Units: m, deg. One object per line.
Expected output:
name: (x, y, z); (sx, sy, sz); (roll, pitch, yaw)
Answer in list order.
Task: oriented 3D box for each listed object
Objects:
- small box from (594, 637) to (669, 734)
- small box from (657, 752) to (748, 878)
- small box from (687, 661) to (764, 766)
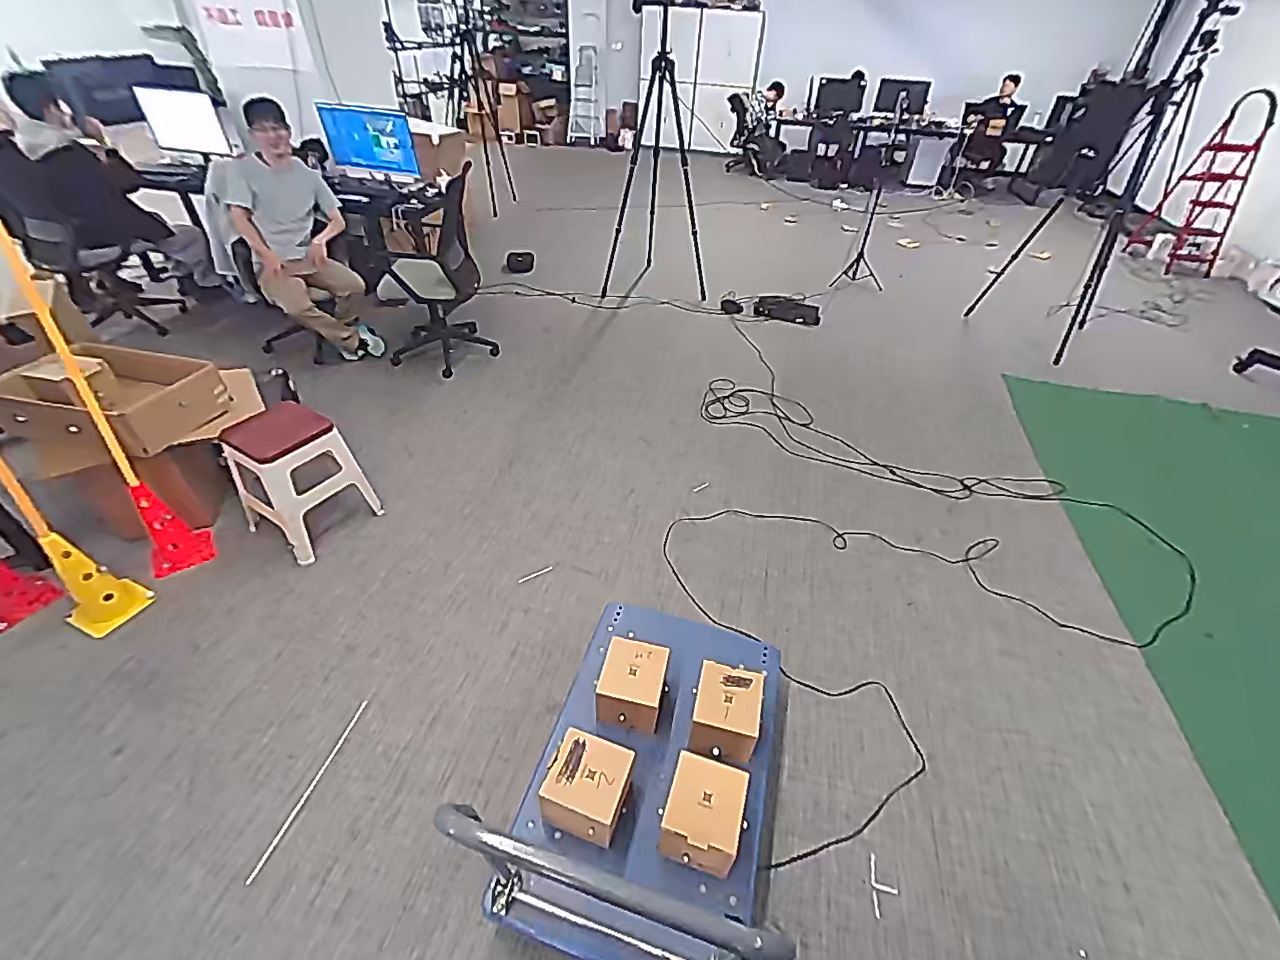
small box: (-0.022, 0.565, 1.480); (0.168, 0.176, 0.179); (11, 42, 8)
small box: (0.142, 0.775, 1.251); (0.168, 0.176, 0.179); (14, 43, 12)
small box: (0.223, 0.619, 1.435); (0.168, 0.176, 0.179); (12, 43, 10)
